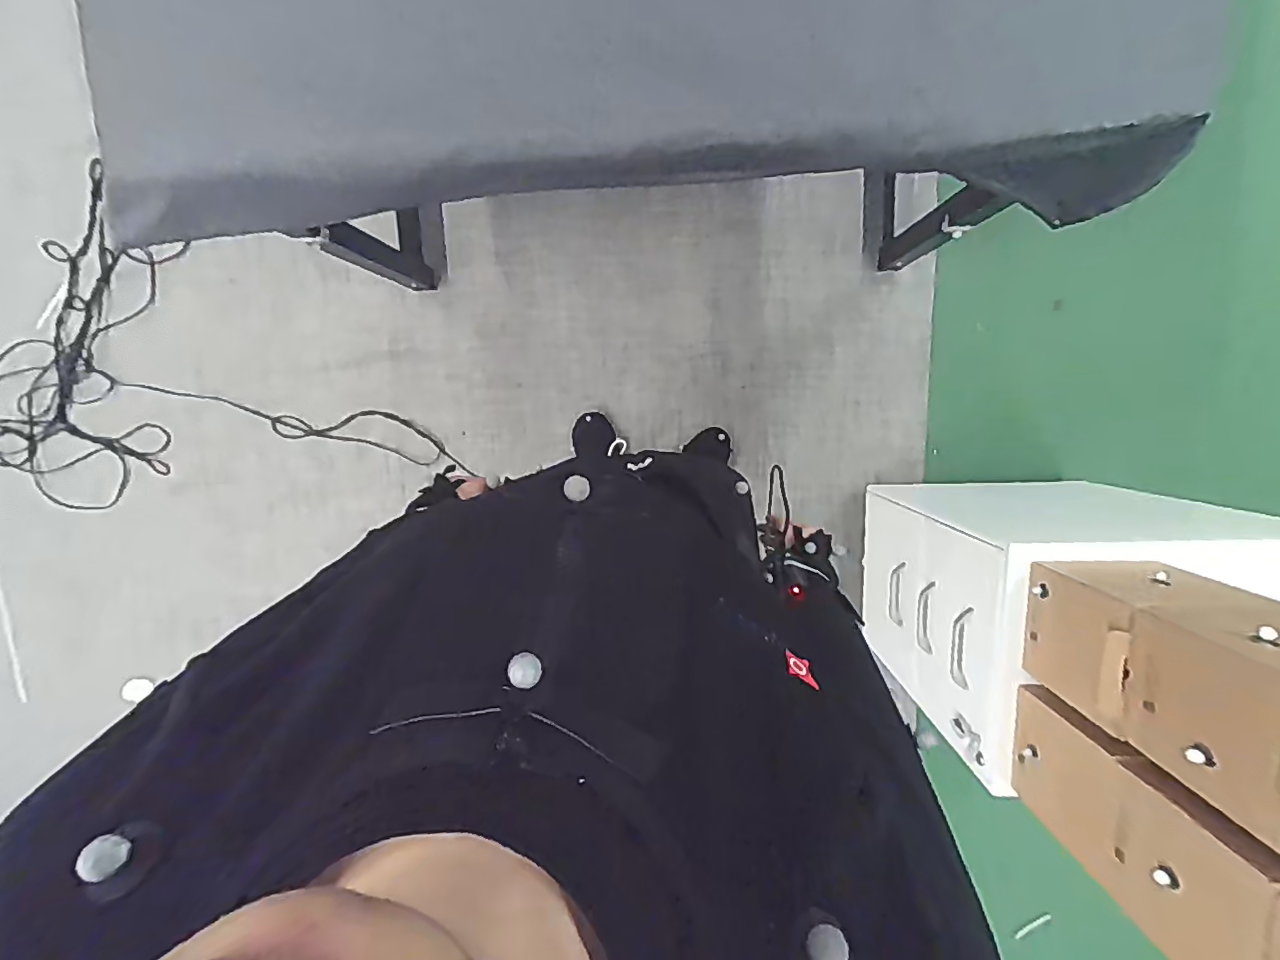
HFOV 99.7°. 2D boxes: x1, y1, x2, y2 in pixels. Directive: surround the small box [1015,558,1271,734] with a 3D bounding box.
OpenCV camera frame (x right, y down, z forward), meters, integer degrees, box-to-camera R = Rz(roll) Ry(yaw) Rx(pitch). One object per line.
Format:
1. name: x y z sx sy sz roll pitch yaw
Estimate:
1. small box: 0.628 0.203 0.701 0.179 0.176 0.168 -1 99 1
